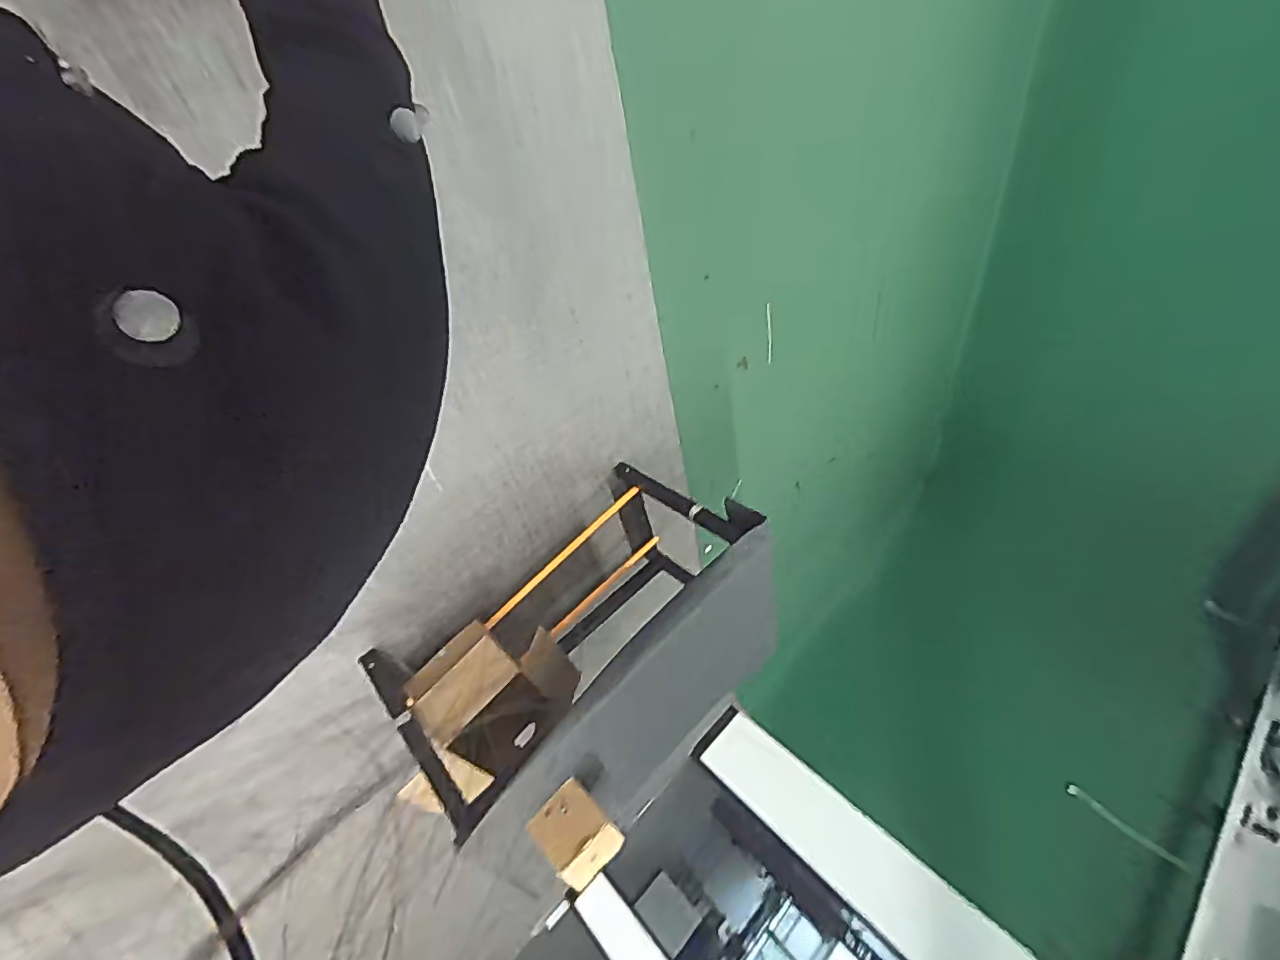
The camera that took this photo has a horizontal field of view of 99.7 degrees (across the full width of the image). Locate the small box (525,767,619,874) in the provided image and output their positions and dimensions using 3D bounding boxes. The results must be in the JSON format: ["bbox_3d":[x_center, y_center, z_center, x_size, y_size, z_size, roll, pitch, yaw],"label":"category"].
[{"bbox_3d":[-0.188,0.940,1.501,0.168,0.176,0.179,-39,137,-23],"label":"small box"}]
